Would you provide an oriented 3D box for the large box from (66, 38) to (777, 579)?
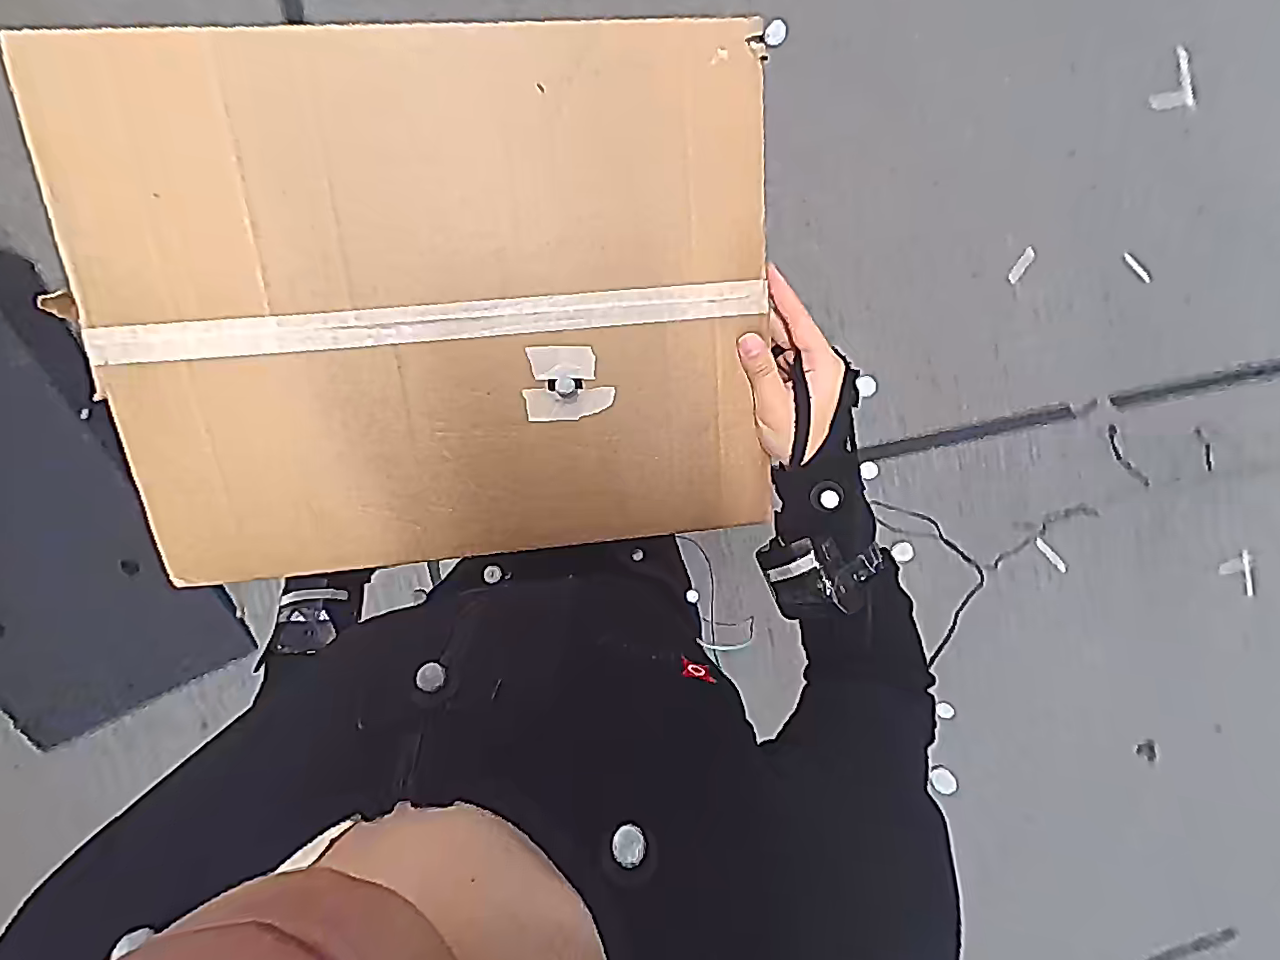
[{"bbox_3d":[-0.125,-0.135,0.490,0.408,0.320,0.320,-6,105,-6],"label":"large box"}]
